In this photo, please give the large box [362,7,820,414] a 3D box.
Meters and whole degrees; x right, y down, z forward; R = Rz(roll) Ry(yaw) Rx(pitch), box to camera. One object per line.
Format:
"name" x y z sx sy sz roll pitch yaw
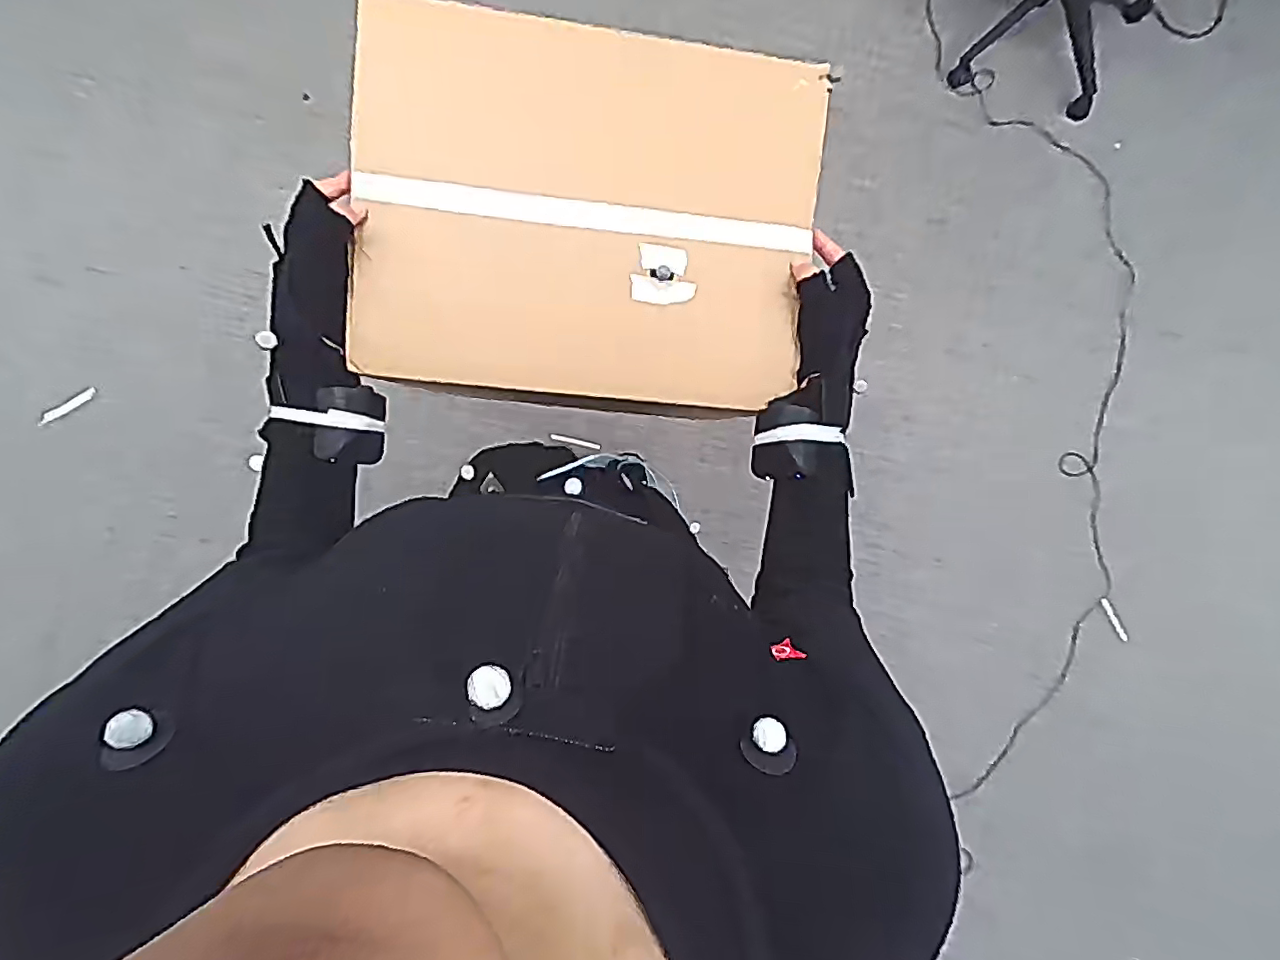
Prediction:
"large box" -0.059 -0.249 0.636 0.408 0.320 0.320 5 96 -7
